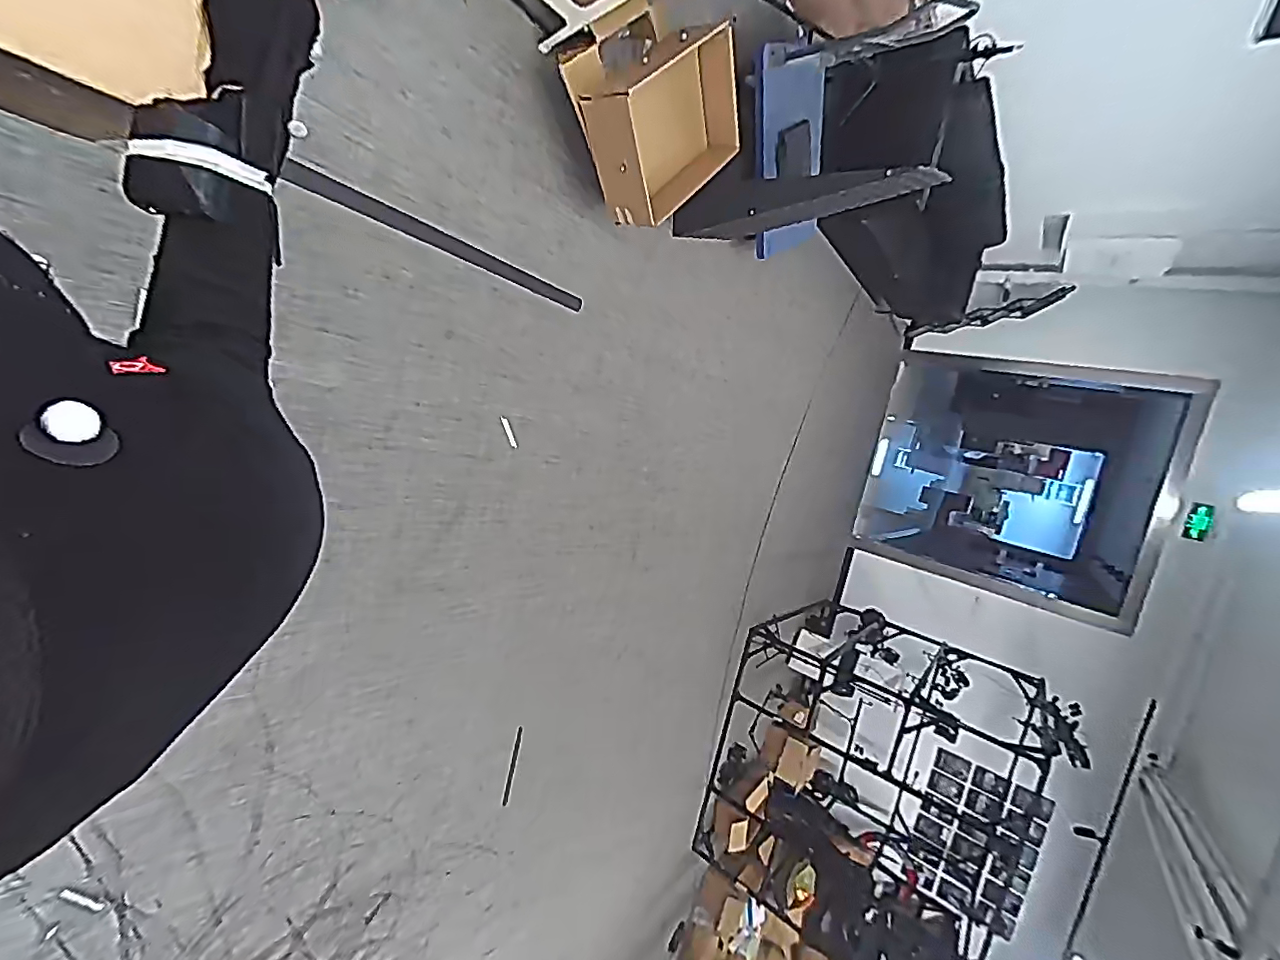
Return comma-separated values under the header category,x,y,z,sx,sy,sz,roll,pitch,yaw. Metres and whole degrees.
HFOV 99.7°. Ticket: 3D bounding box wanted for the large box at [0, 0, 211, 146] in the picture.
category,x,y,z,sx,sy,sz,roll,pitch,yaw
large box,-0.517,-0.433,0.282,0.408,0.320,0.320,-1,109,-57
